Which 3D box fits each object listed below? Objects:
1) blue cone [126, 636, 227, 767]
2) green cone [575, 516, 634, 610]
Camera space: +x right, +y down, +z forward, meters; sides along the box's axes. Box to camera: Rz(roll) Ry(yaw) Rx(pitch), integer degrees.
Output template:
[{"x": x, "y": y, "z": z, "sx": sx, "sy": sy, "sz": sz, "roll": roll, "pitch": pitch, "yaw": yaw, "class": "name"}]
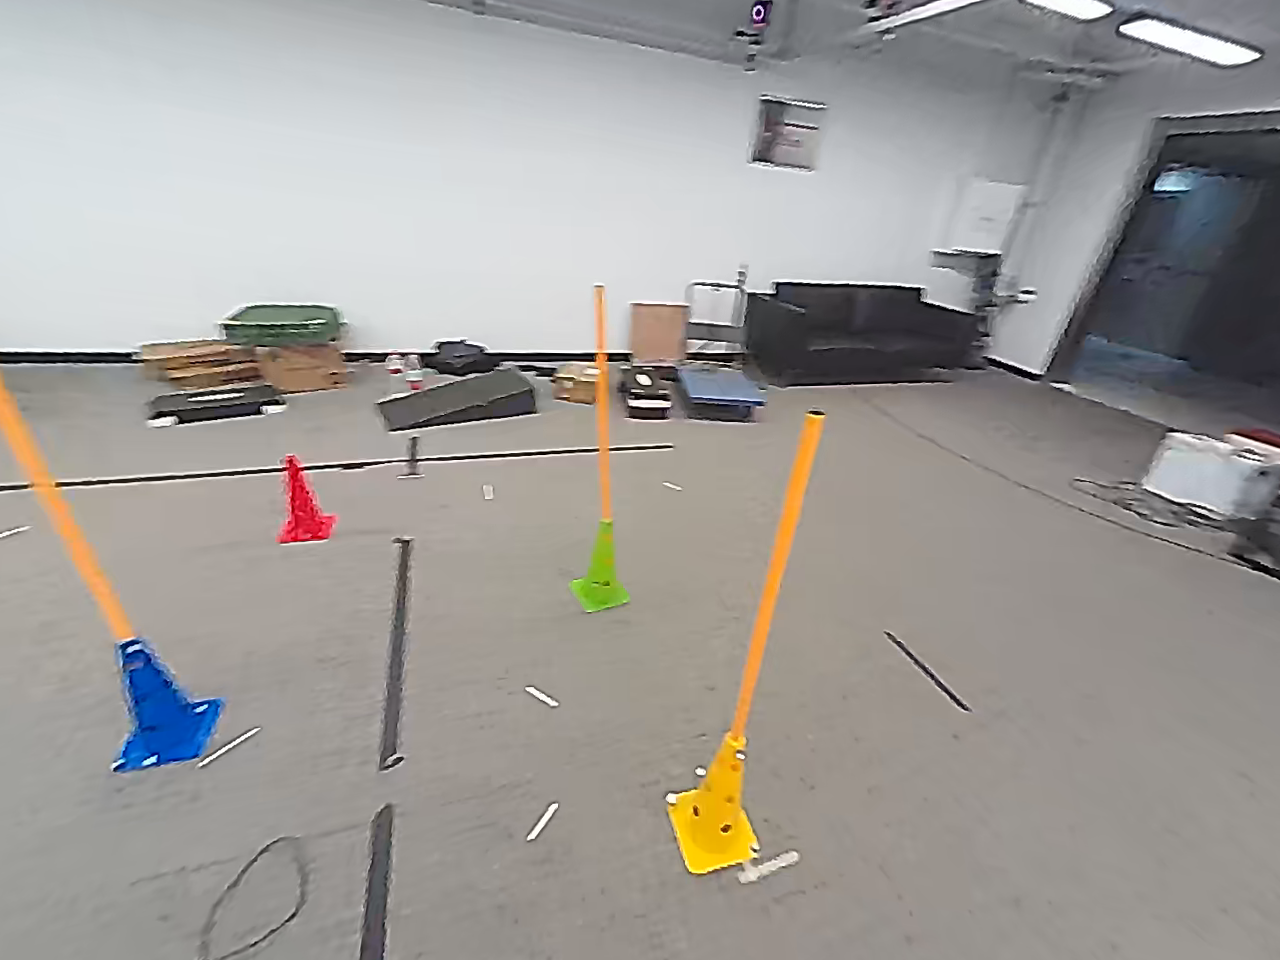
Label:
[{"x": -1.275, "y": 0.559, "z": 1.437, "sx": 0.193, "sy": 0.380, "sz": 0.192, "roll": -3, "pitch": 29, "yaw": -16, "class": "blue cone"}, {"x": -0.129, "y": 0.301, "z": 2.133, "sx": 0.200, "sy": 0.368, "sz": 0.202, "roll": -10, "pitch": 33, "yaw": -27, "class": "green cone"}]
